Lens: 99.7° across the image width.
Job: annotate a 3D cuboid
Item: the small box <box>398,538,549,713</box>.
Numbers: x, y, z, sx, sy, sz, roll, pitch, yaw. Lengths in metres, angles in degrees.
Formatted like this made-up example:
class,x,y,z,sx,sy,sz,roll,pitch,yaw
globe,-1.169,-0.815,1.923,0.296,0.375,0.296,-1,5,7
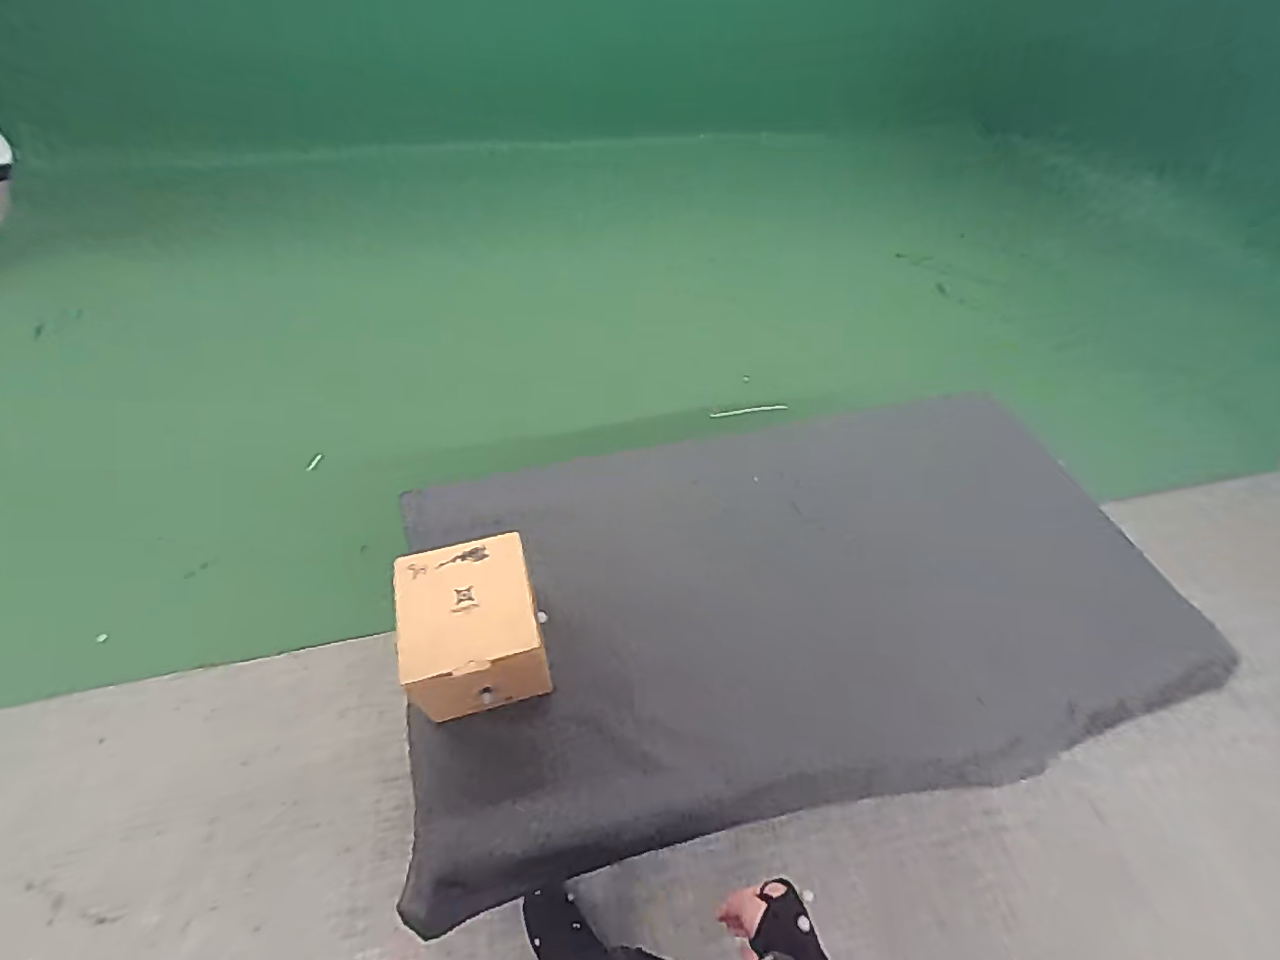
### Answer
class,x,y,z,sx,sy,sz,roll,pitch,yaw
small box,-0.227,0.209,0.756,0.168,0.176,0.179,-11,55,-13
